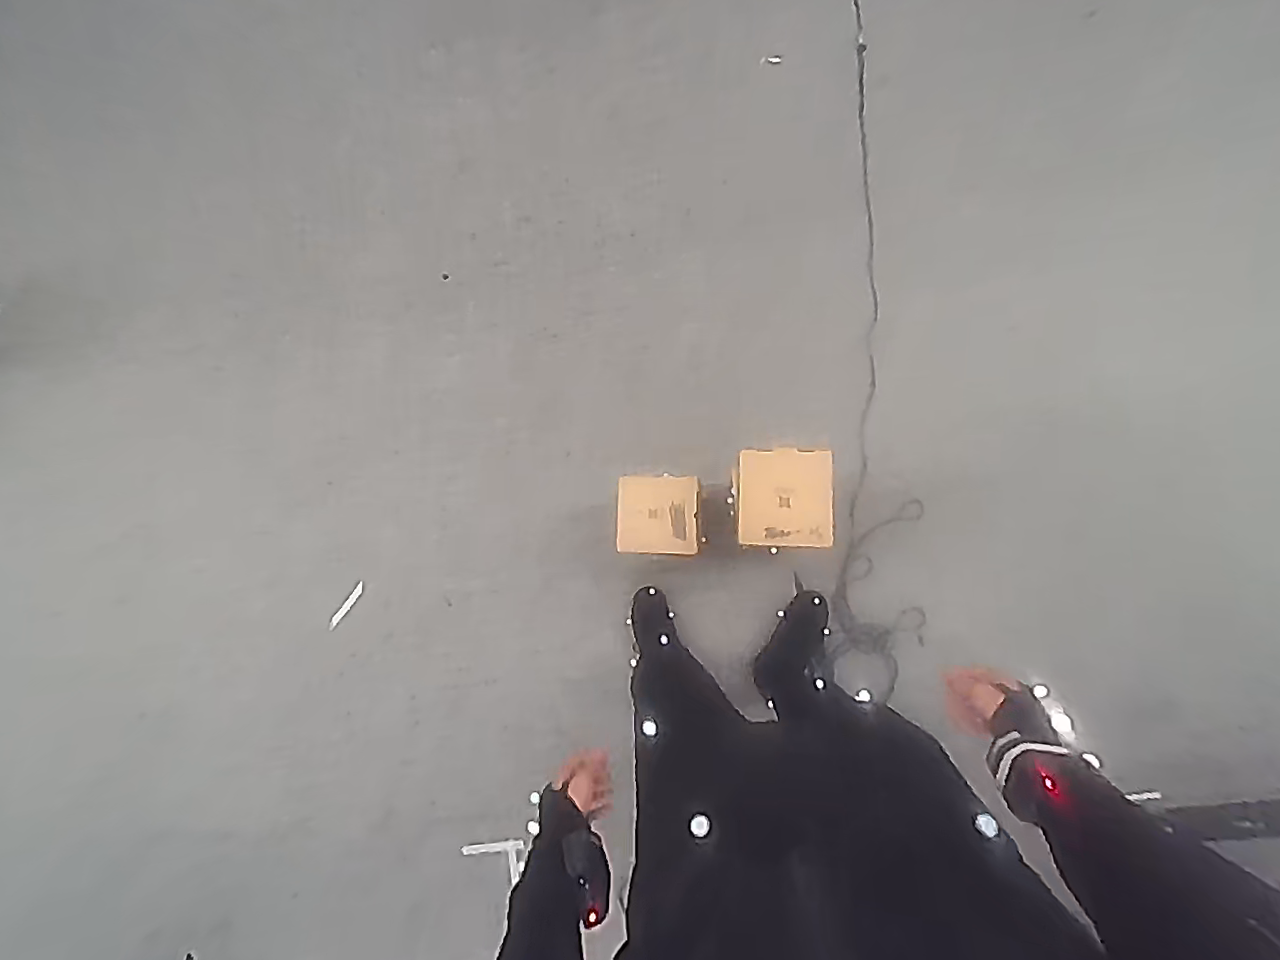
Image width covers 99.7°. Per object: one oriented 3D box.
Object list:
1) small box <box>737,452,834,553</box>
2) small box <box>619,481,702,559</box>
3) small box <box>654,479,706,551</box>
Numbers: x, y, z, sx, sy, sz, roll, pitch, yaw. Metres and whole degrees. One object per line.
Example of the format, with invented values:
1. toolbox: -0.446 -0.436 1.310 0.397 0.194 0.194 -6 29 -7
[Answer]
1. small box: 0.276 0.048 1.050 0.168 0.176 0.179 1 82 9
2. small box: 0.053 0.093 1.241 0.179 0.176 0.168 0 83 9
3. small box: 0.083 0.097 1.403 0.168 0.176 0.179 -3 83 9
